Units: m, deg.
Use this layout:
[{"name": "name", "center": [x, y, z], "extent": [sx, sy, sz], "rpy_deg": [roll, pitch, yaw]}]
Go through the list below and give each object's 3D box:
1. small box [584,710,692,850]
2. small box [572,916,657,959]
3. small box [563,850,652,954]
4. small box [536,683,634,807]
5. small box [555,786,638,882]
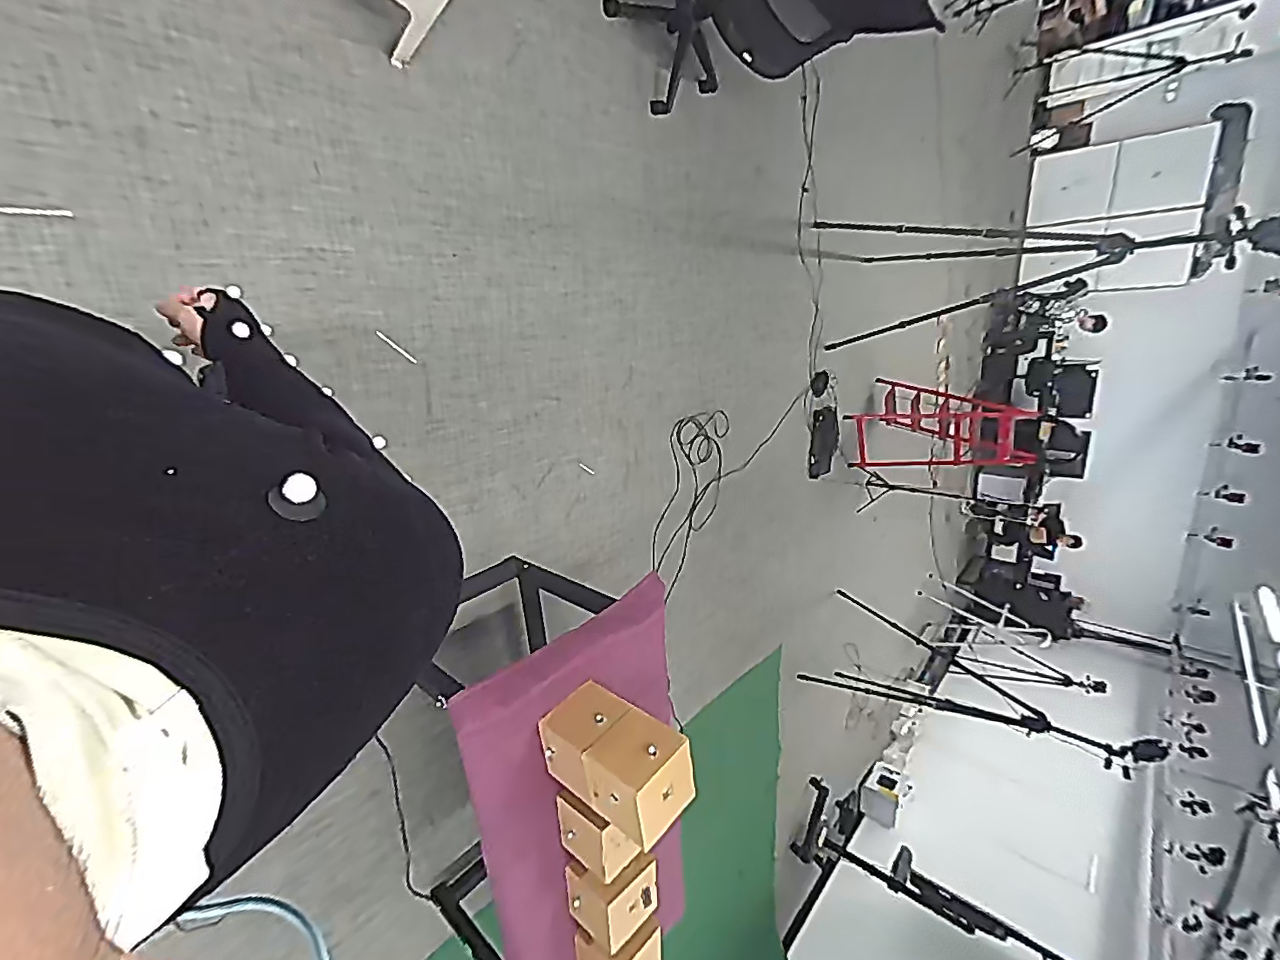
[{"name": "small box", "center": [-0.009, 0.651, 1.196], "extent": [0.179, 0.176, 0.168], "rpy_deg": [-26, 116, -43]}, {"name": "small box", "center": [-0.070, 1.321, 1.522], "extent": [0.179, 0.176, 0.168], "rpy_deg": [-18, 111, -45]}, {"name": "small box", "center": [-0.085, 1.086, 1.453], "extent": [0.179, 0.176, 0.168], "rpy_deg": [-17, 110, -44]}, {"name": "small box", "center": [-0.124, 0.626, 1.306], "extent": [0.179, 0.176, 0.168], "rpy_deg": [-25, 116, -41]}, {"name": "small box", "center": [-0.095, 0.860, 1.390], "extent": [0.179, 0.176, 0.168], "rpy_deg": [-19, 112, -44]}]
